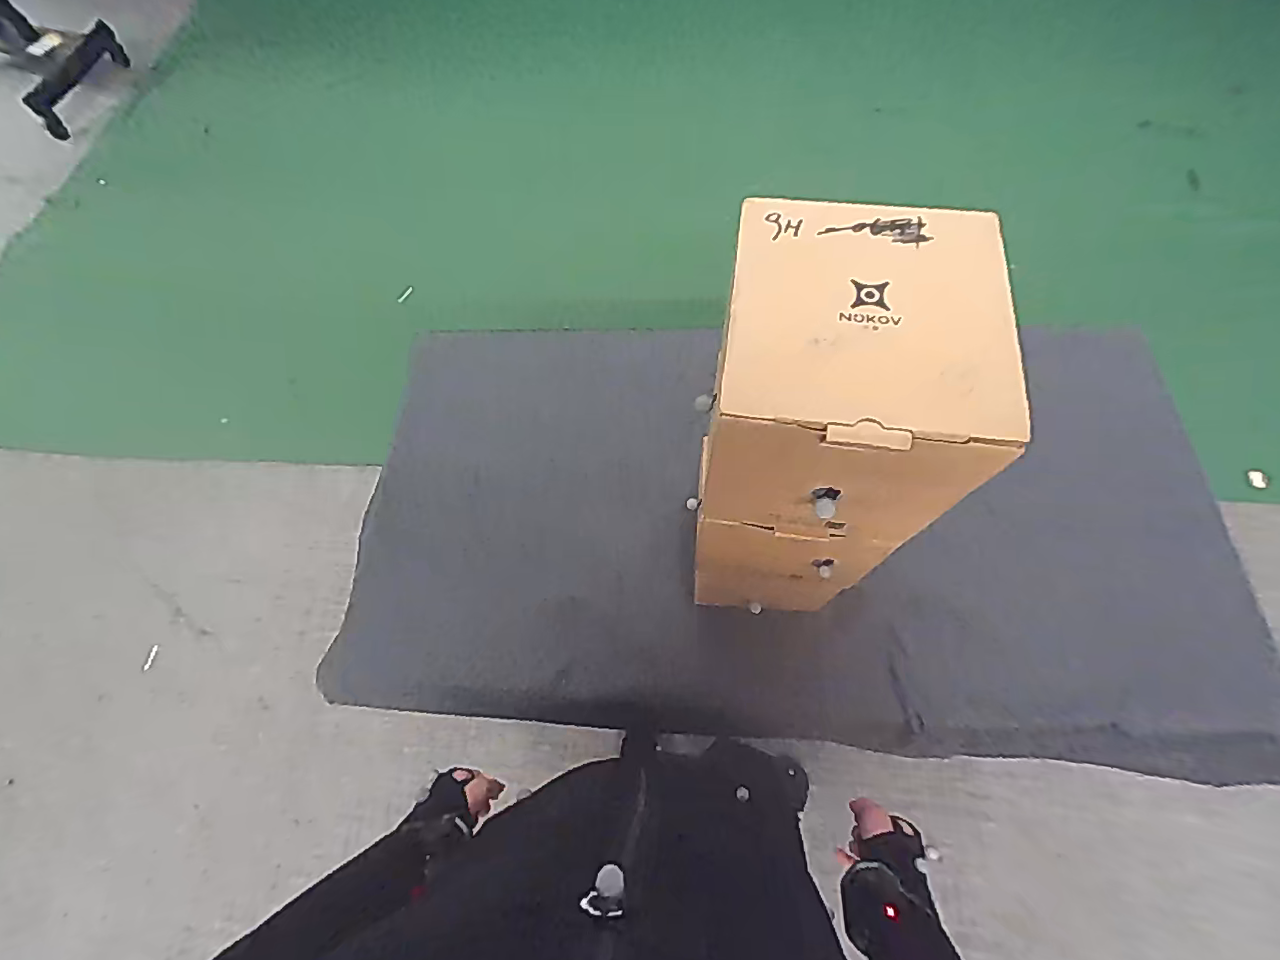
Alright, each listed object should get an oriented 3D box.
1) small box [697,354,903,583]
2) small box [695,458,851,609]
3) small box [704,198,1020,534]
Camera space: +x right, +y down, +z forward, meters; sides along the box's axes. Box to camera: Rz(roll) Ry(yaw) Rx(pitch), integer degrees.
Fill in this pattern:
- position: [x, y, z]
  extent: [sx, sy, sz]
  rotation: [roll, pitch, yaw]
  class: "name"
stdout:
- position: [0.147, -0.004, 0.546]
  extent: [0.168, 0.176, 0.179]
  rotation: [6, 66, 6]
  class: "small box"
- position: [0.159, 0.059, 0.694]
  extent: [0.168, 0.176, 0.179]
  rotation: [2, 67, 6]
  class: "small box"
- position: [0.139, -0.070, 0.396]
  extent: [0.168, 0.176, 0.179]
  rotation: [7, 68, 7]
  class: "small box"
